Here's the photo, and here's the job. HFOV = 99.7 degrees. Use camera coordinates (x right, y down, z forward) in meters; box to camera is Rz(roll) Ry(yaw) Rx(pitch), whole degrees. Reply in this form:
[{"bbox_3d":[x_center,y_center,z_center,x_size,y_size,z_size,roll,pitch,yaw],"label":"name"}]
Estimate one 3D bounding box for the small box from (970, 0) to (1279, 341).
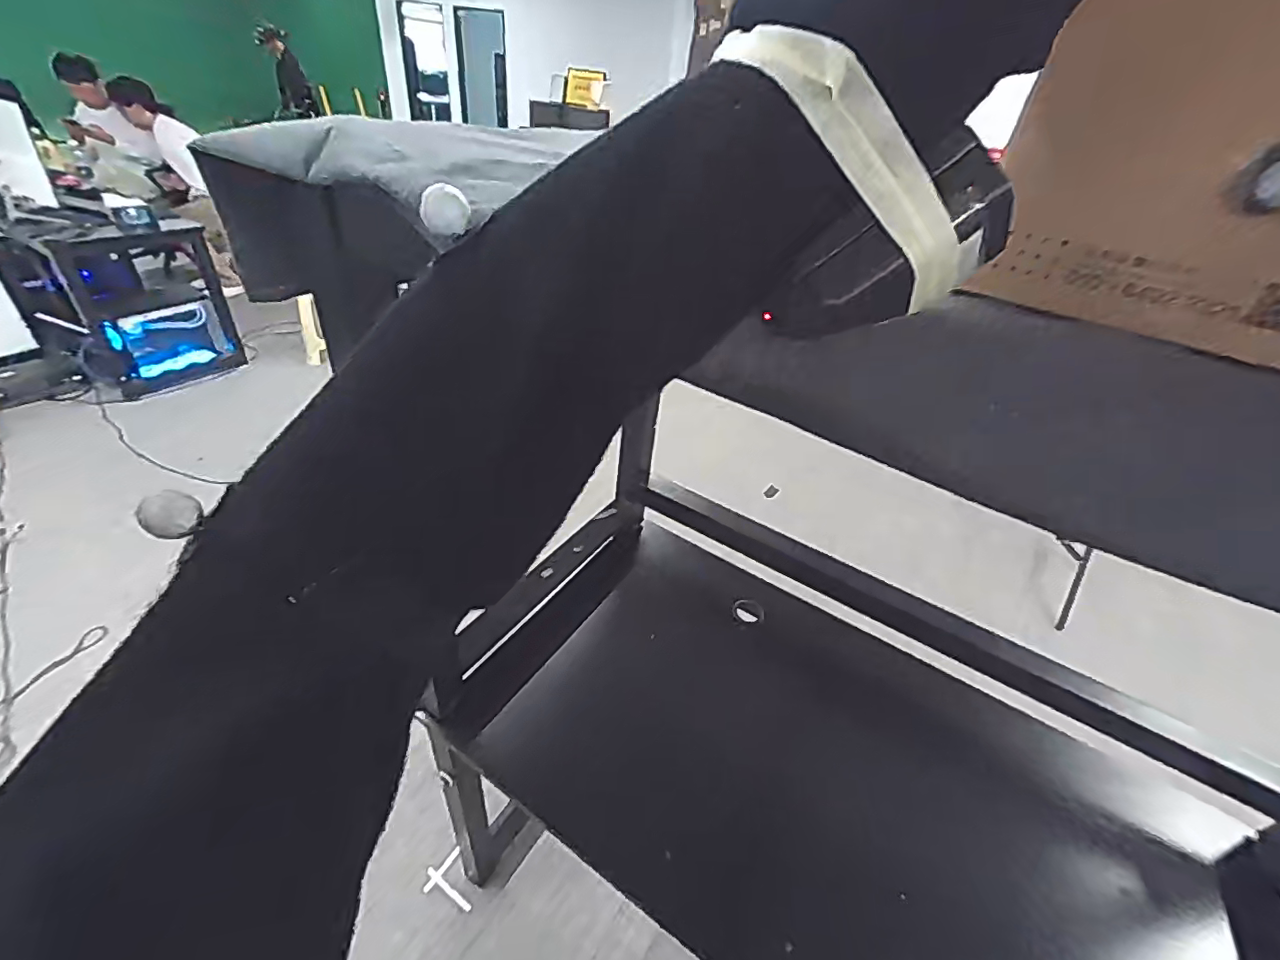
[{"bbox_3d":[0.261,-0.163,0.217,0.168,0.176,0.179,26,38,24],"label":"small box"}]
